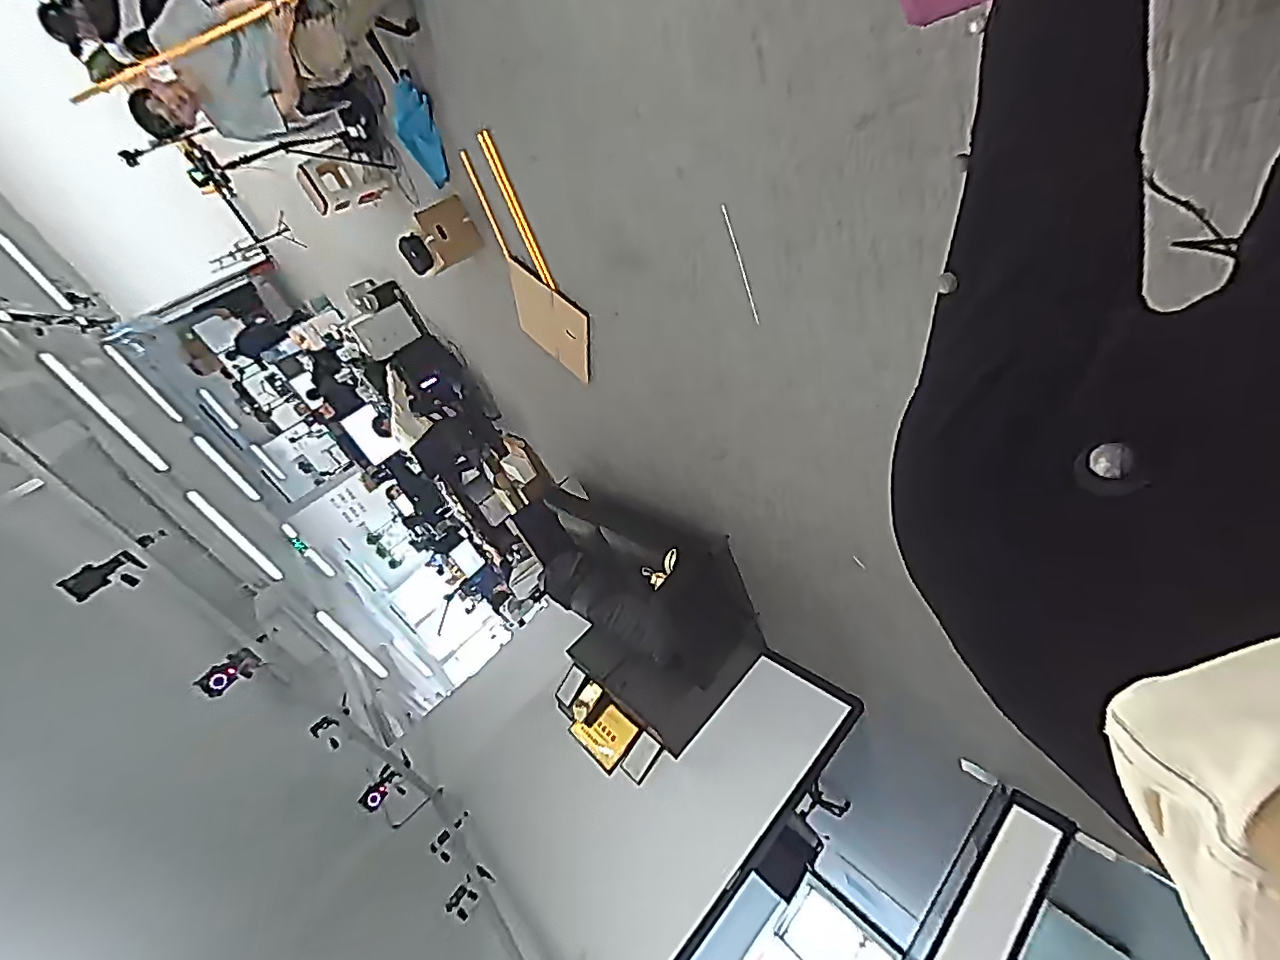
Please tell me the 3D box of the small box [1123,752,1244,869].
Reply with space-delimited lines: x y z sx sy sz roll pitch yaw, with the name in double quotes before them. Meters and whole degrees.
"small box" 1.400 0.846 1.395 0.168 0.176 0.179 28 151 44
